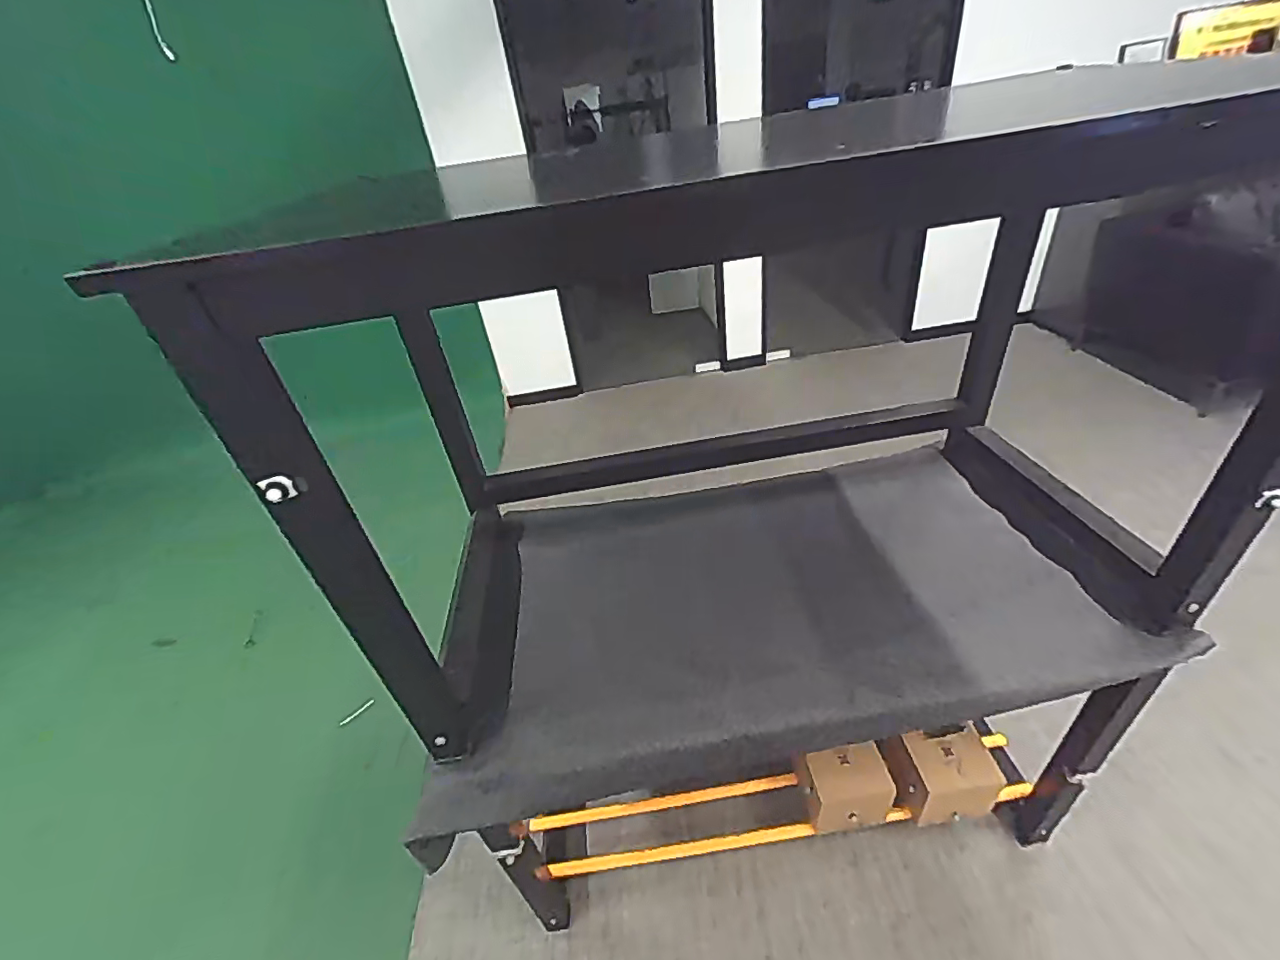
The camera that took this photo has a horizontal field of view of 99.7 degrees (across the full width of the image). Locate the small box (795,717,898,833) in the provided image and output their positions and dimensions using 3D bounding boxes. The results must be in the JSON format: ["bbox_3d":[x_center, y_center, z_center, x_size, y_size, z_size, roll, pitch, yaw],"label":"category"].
[{"bbox_3d":[0.466,0.684,1.245,0.168,0.176,0.179,-10,36,-1],"label":"small box"}]
